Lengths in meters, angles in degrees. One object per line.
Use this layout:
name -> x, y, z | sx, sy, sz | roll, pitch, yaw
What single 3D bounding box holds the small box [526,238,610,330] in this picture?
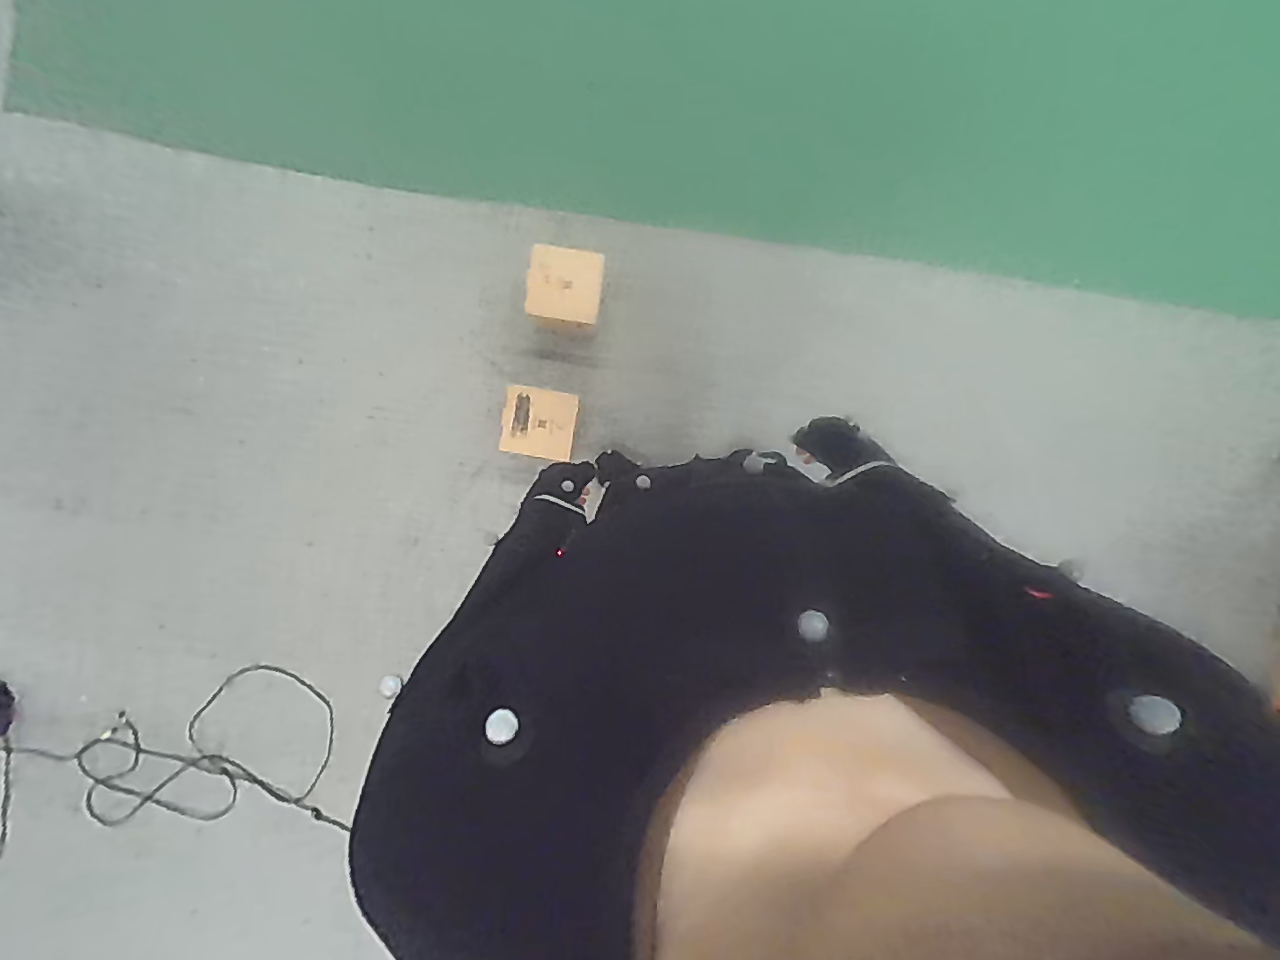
small box -> -0.172, -0.476, 1.340 | 0.179, 0.176, 0.168 | 8, 95, -2
